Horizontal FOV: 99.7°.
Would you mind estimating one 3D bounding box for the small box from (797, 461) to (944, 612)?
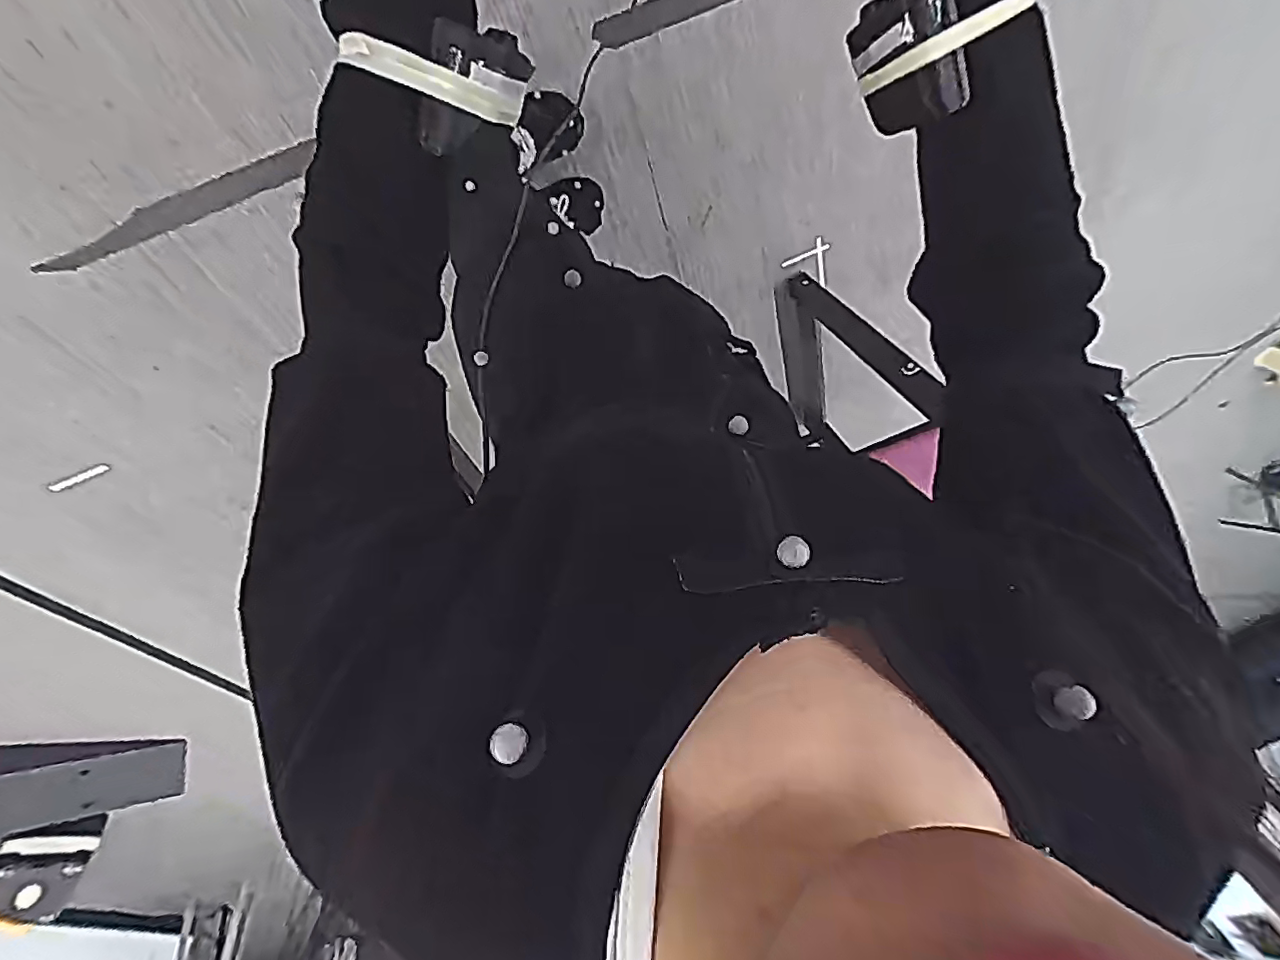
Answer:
[{"bbox_3d":[0.391,0.097,0.953,0.179,0.176,0.168,-20,135,-2],"label":"small box"}]
